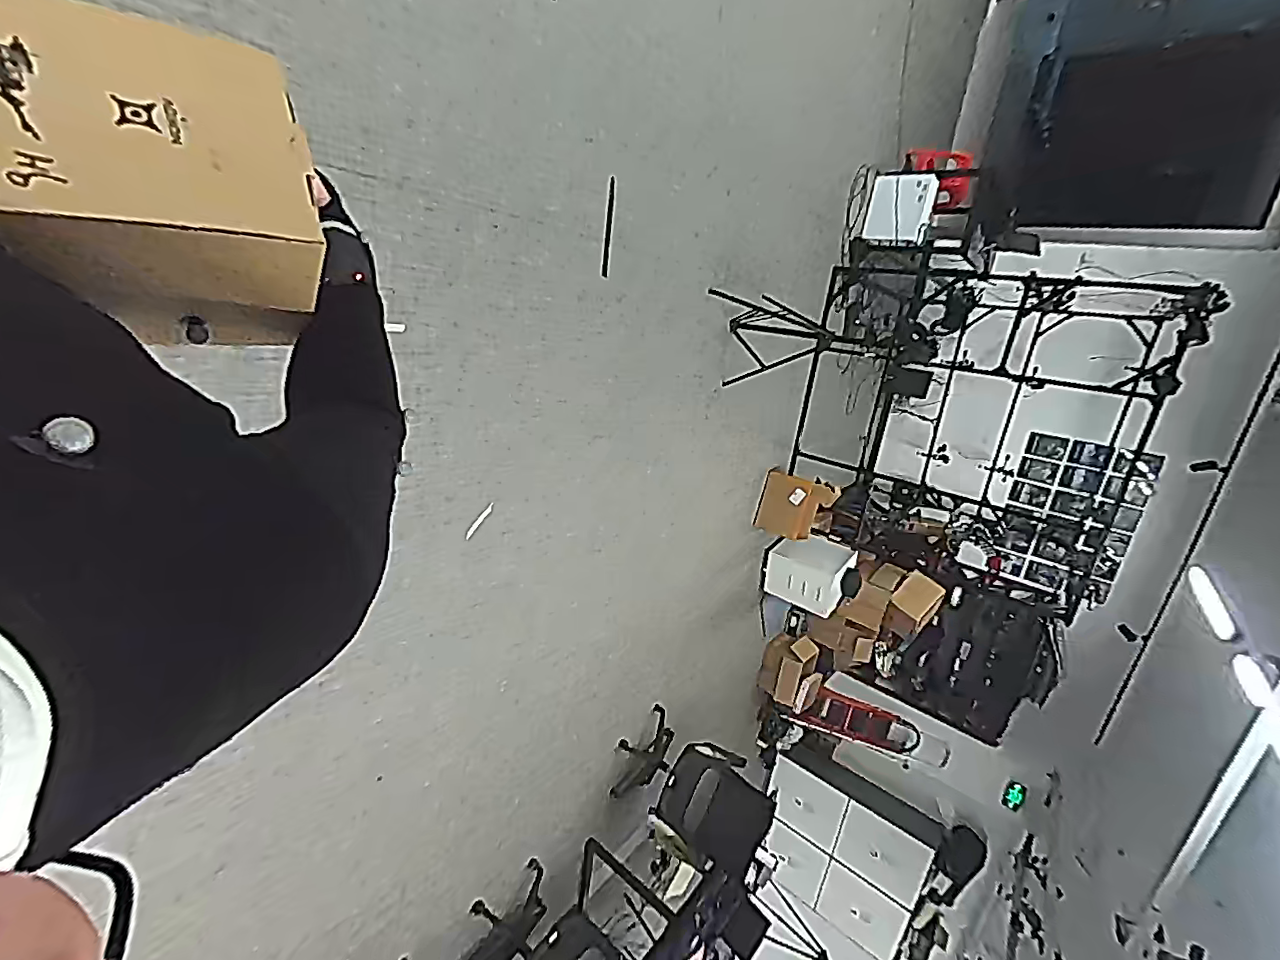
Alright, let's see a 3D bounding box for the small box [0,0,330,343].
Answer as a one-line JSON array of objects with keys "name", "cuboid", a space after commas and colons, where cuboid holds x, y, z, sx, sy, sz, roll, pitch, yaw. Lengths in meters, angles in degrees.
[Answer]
[{"name": "small box", "cuboid": [-0.380, -0.225, 0.446, 0.179, 0.176, 0.168, -11, 80, -38]}]
